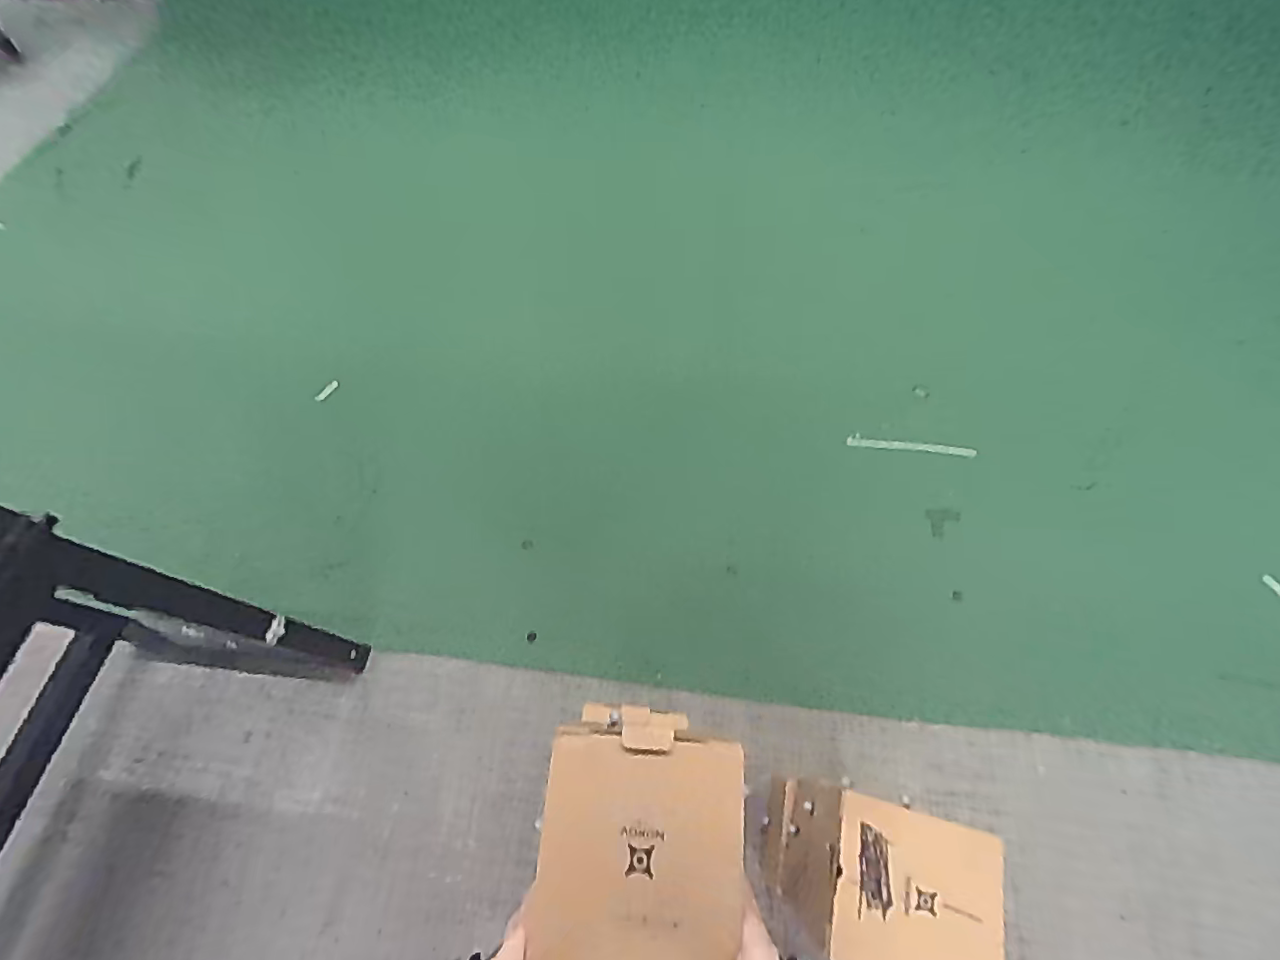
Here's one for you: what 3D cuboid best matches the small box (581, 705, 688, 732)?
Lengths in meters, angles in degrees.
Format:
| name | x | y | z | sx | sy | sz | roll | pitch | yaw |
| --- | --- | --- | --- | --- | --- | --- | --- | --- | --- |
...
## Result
| name | x | y | z | sx | sy | sz | roll | pitch | yaw |
| --- | --- | --- | --- | --- | --- | --- | --- | --- | --- |
| small box | -0.011 | 0.467 | 0.856 | 0.168 | 0.176 | 0.179 | 4 | 61 | 6 |

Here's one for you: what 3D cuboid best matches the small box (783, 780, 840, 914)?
| name | x | y | z | sx | sy | sz | roll | pitch | yaw |
| --- | --- | --- | --- | --- | --- | --- | --- | --- | --- |
| small box | 0.319 | 0.554 | 0.787 | 0.179 | 0.176 | 0.168 | 15 | 65 | 11 |

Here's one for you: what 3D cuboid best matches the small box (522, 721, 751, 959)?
| name | x | y | z | sx | sy | sz | roll | pitch | yaw |
| --- | --- | --- | --- | --- | --- | --- | --- | --- | --- |
| small box | 0.004 | 0.321 | 0.490 | 0.168 | 0.176 | 0.179 | 4 | 68 | 4 |

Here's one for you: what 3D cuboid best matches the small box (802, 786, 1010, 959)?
| name | x | y | z | sx | sy | sz | roll | pitch | yaw |
| --- | --- | --- | --- | --- | --- | --- | --- | --- | --- |
| small box | 0.303 | 0.479 | 0.642 | 0.179 | 0.176 | 0.168 | 13 | 65 | 10 |
